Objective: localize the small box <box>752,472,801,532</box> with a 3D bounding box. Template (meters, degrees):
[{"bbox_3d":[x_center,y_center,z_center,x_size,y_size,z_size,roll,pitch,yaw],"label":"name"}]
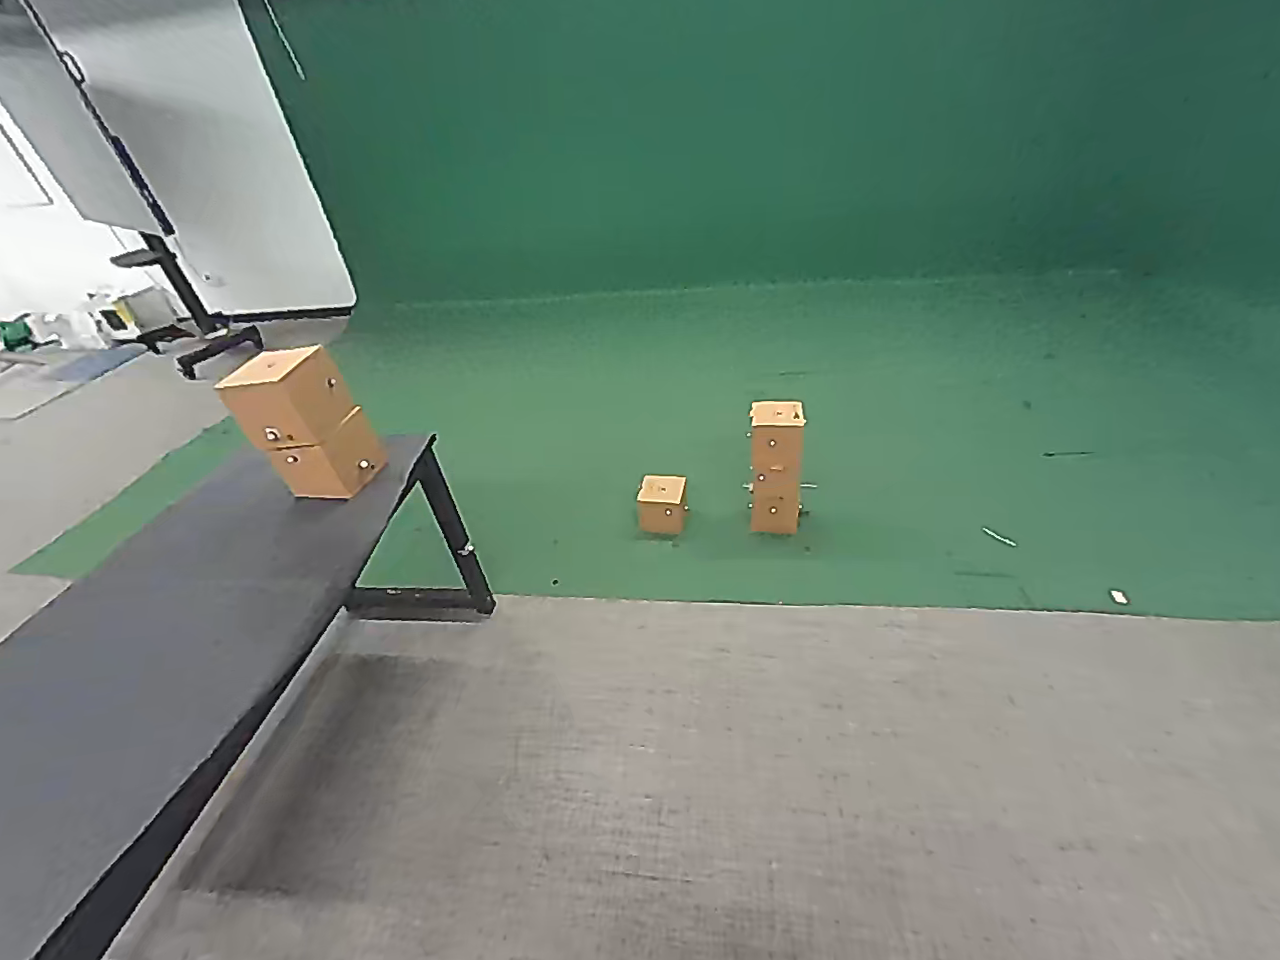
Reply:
[{"bbox_3d":[0.537,0.088,2.137,0.179,0.176,0.168,2,39,12],"label":"small box"}]

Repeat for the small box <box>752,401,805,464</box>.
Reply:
[{"bbox_3d":[0.493,-0.171,1.940,0.179,0.176,0.168,1,38,12],"label":"small box"}]

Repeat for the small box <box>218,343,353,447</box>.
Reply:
[{"bbox_3d":[-0.802,-0.195,1.250,0.168,0.176,0.179,-5,39,9],"label":"small box"}]

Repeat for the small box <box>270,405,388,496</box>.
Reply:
[{"bbox_3d":[-0.779,-0.075,1.356,0.179,0.176,0.168,2,39,14],"label":"small box"}]

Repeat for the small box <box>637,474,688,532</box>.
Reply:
[{"bbox_3d":[0.099,0.095,2.198,0.179,0.176,0.168,3,38,14],"label":"small box"}]
